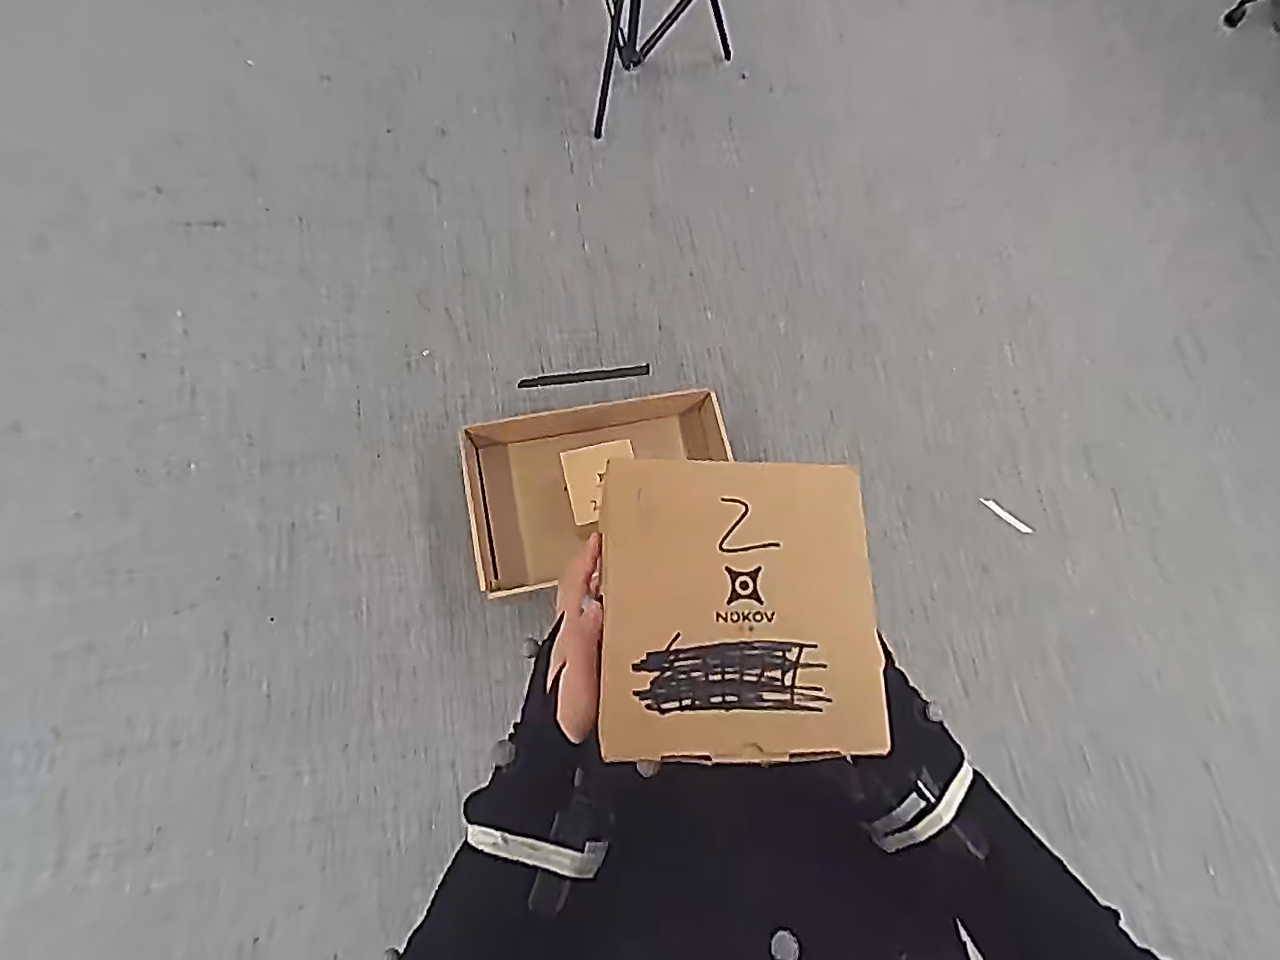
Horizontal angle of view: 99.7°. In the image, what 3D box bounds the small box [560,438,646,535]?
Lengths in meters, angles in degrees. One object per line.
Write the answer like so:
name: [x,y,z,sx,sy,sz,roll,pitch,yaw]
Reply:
small box: [-0.094,0.021,1.289,0.168,0.176,0.179,-12,77,-9]
